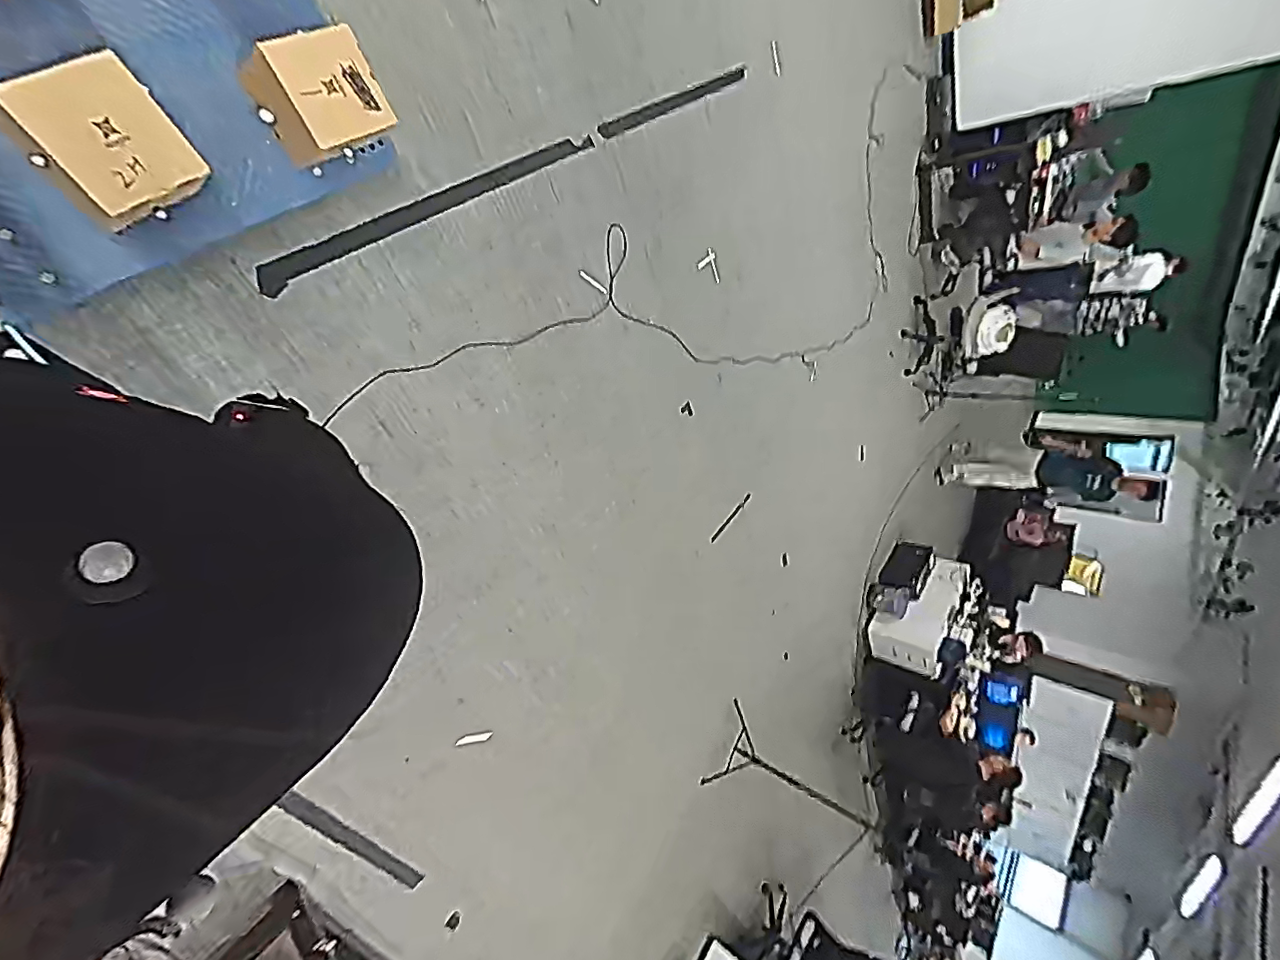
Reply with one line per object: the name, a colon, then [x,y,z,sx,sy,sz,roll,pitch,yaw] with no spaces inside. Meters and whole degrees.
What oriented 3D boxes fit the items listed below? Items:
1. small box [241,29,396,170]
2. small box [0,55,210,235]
small box: [-0.621,-0.728,1.046,0.179,0.176,0.168,-45,129,-30]
small box: [-0.841,-0.516,0.853,0.168,0.176,0.179,-51,131,-27]
